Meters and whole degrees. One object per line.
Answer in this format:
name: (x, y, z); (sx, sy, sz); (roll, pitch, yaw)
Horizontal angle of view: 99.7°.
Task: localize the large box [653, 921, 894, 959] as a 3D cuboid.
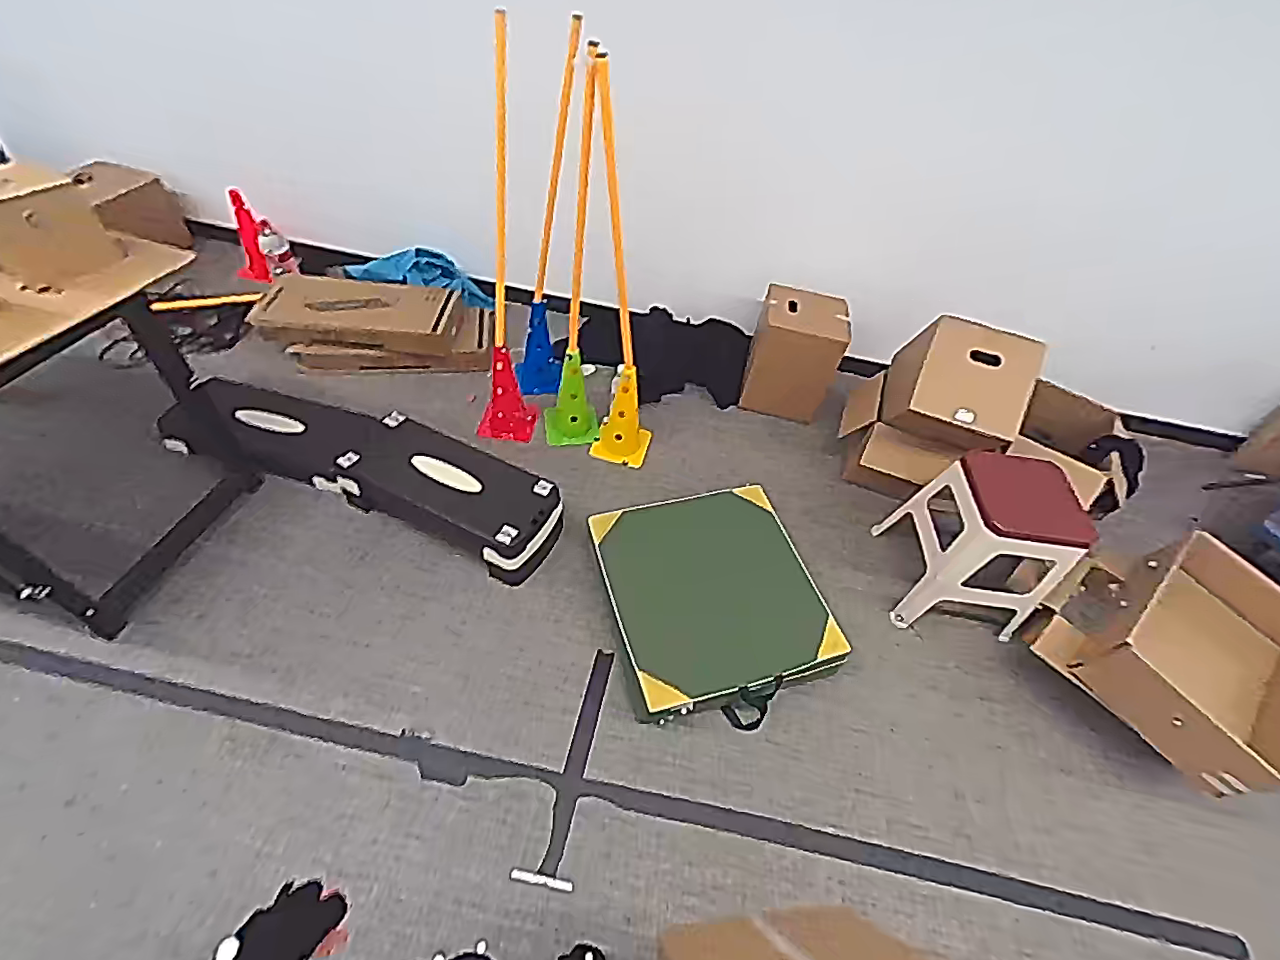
large box: (0.209, 0.774, 0.624); (0.320, 0.408, 0.320); (0, 65, -10)
